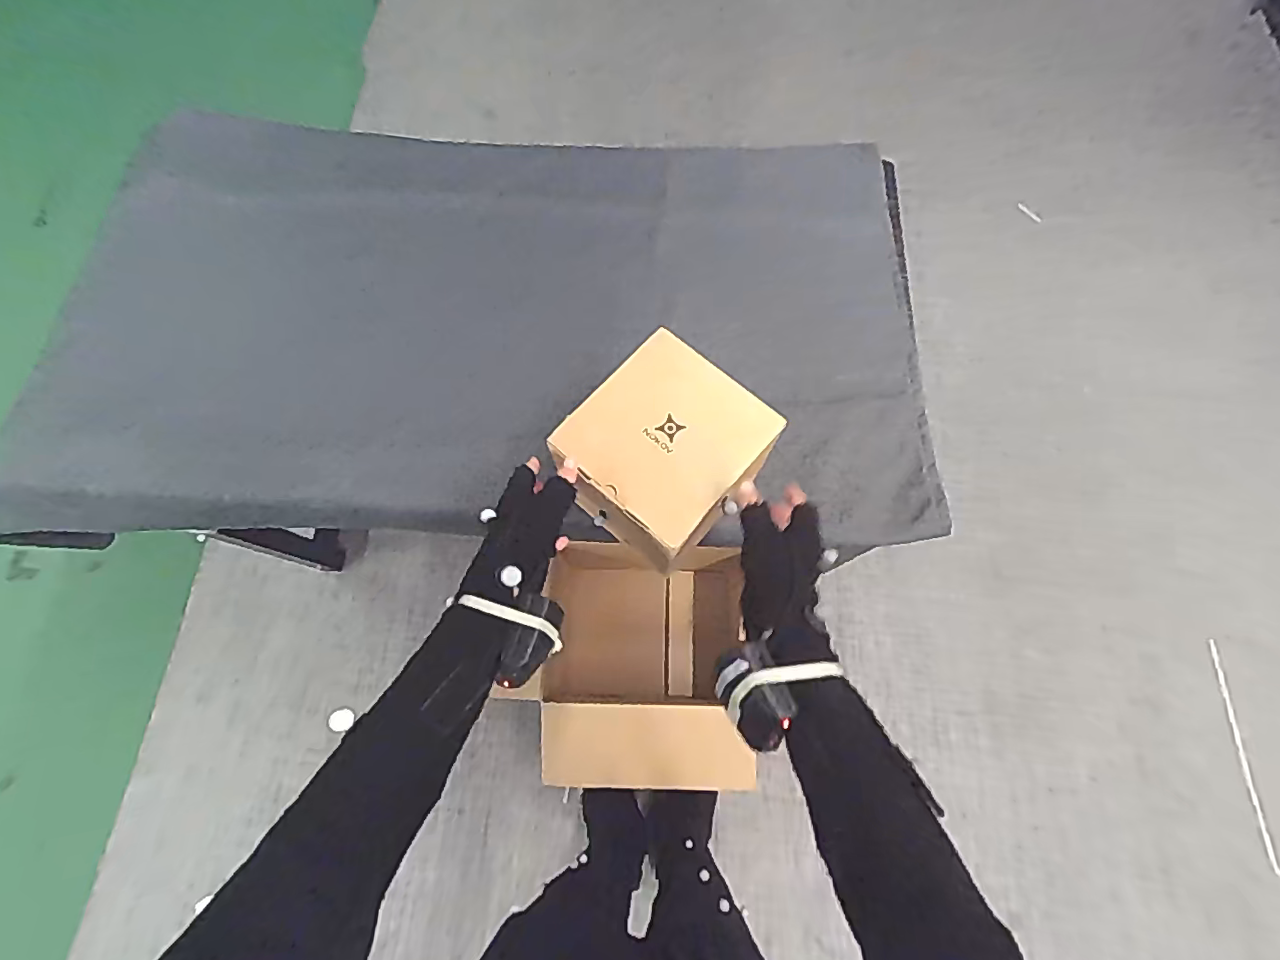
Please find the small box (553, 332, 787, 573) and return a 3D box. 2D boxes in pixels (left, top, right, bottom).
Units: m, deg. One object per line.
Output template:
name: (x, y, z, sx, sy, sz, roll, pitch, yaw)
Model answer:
small box: (0.029, -0.020, 0.601, 0.168, 0.176, 0.179, 40, 76, 12)
